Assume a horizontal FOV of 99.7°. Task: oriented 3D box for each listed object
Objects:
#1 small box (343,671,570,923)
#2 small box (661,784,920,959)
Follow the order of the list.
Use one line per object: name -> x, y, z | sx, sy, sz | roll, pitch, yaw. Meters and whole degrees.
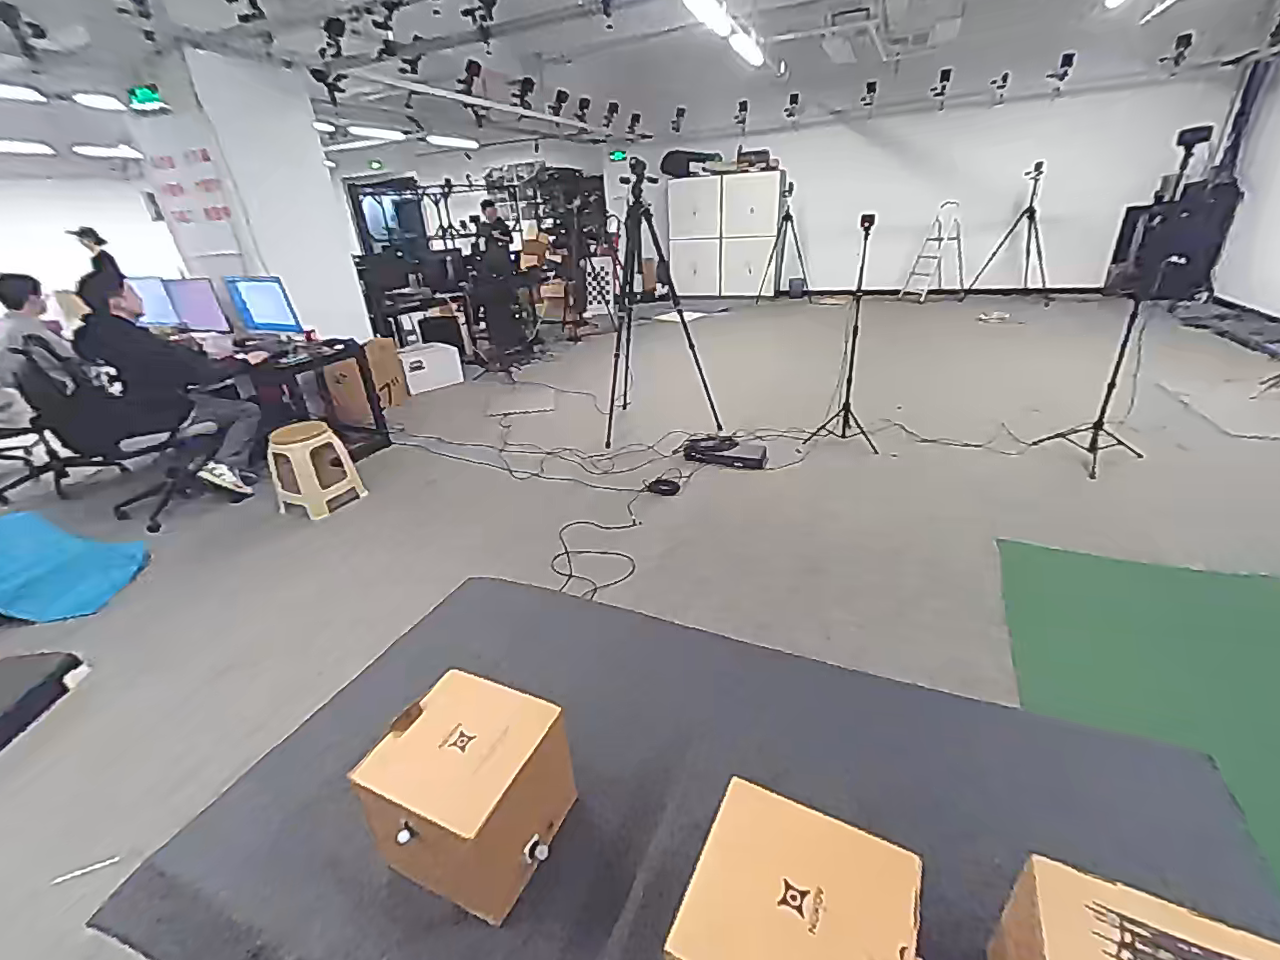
small box -> -0.201, 0.365, 0.636 | 0.179, 0.176, 0.168 | 10, 29, 23
small box -> 0.132, 0.422, 0.475 | 0.179, 0.176, 0.168 | 11, 29, 26
